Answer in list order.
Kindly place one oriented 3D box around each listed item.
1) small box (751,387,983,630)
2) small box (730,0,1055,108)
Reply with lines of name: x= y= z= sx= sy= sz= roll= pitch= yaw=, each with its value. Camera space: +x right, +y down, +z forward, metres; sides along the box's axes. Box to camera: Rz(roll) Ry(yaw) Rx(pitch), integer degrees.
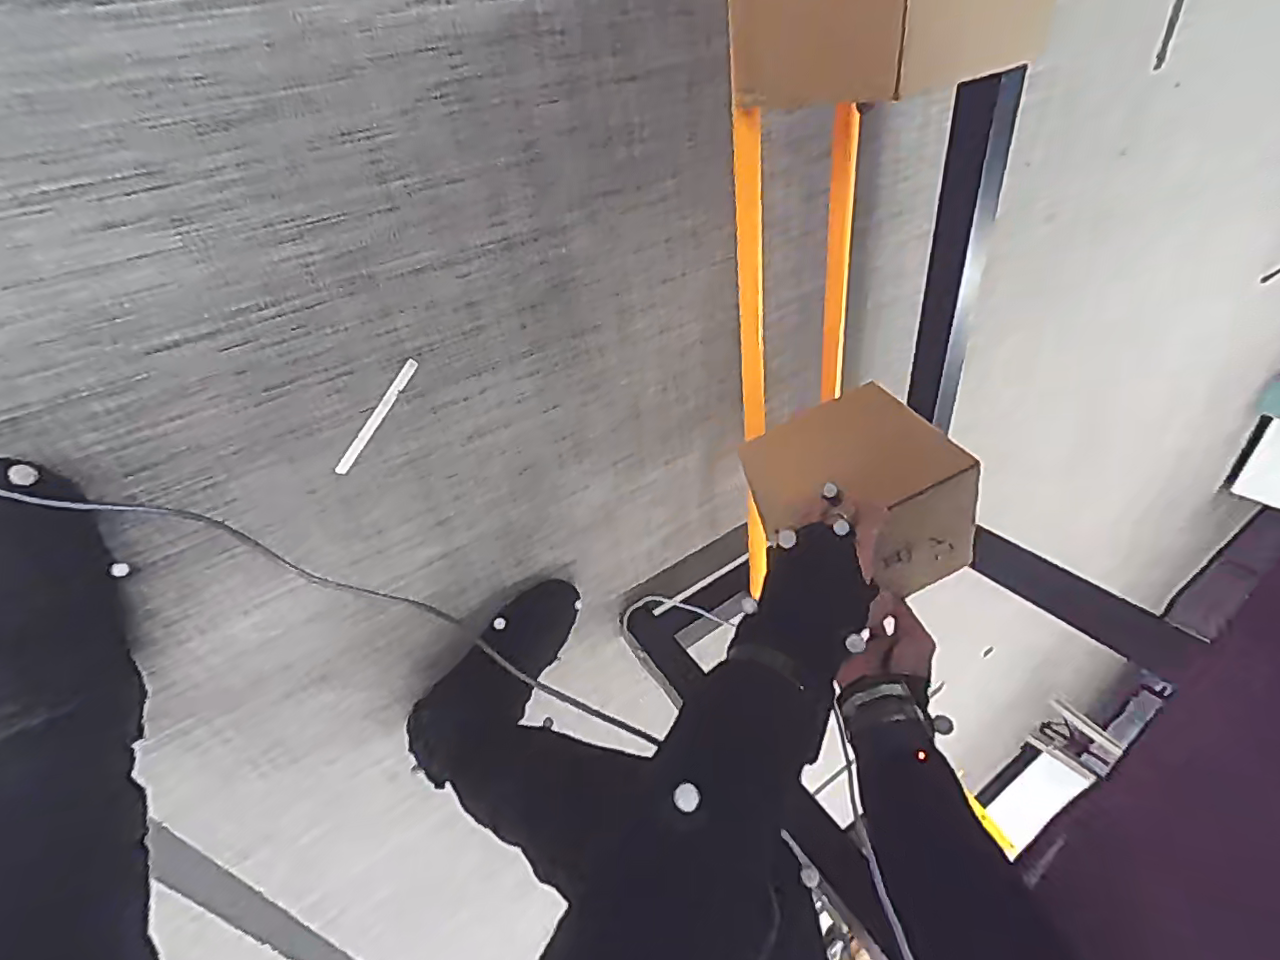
small box: x=0.240 y=0.028 z=0.605 sx=0.179 sy=0.176 sz=0.168 roll=-27 pitch=131 yaw=1
small box: x=0.178 y=-0.386 z=0.391 sx=0.168 sy=0.176 sz=0.179 roll=-28 pitch=129 yaw=-19
